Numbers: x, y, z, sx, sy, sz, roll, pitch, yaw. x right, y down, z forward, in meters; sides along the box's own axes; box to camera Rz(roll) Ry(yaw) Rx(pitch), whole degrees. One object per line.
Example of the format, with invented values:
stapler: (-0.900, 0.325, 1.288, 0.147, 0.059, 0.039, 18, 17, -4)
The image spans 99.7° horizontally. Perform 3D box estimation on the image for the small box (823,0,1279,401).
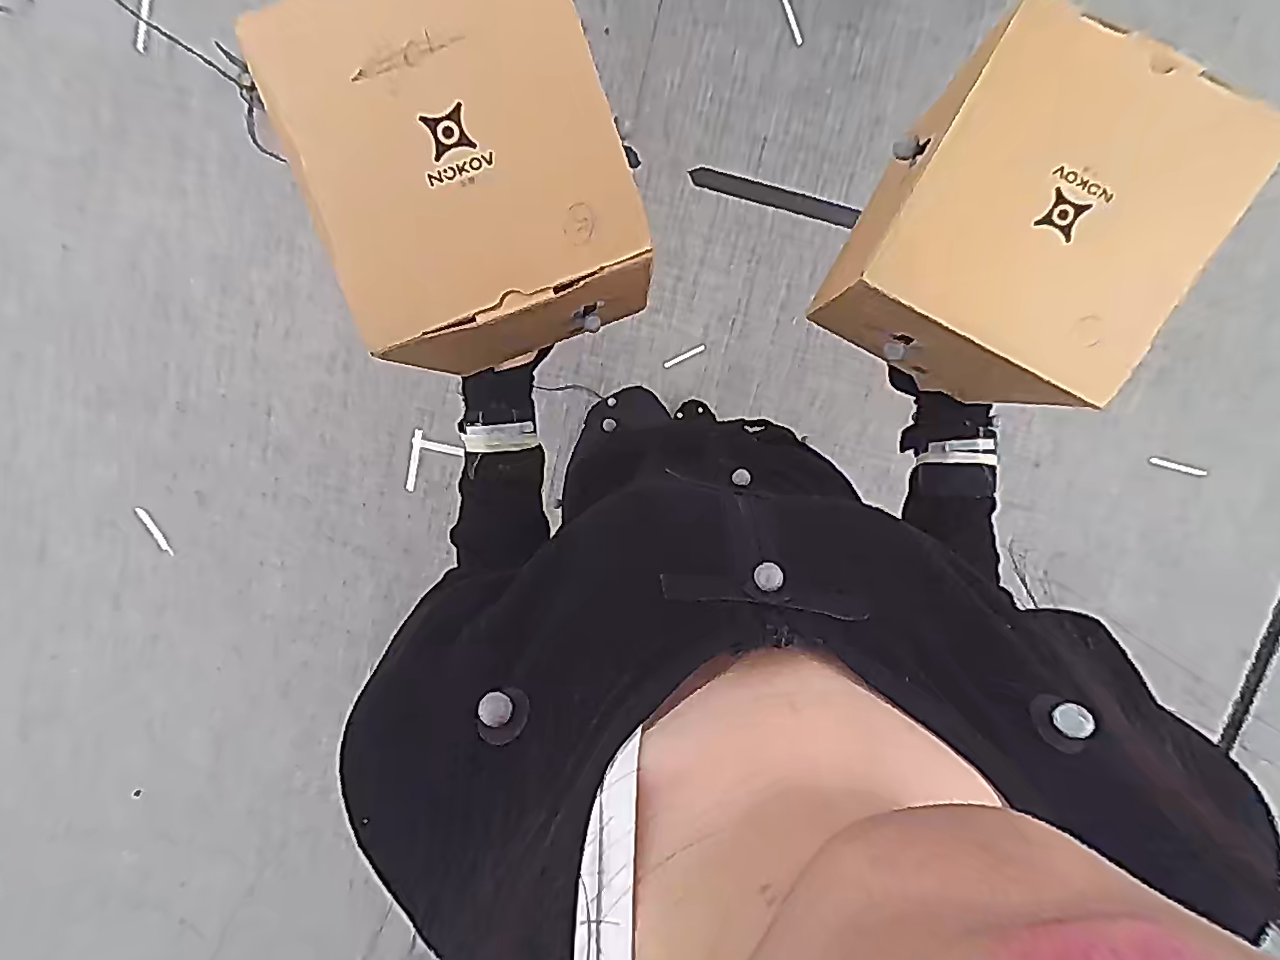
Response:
small box: (0.251, -0.169, 0.386, 0.168, 0.176, 0.179, 28, 99, 1)

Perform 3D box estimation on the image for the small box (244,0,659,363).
small box: (-0.095, -0.185, 0.357, 0.168, 0.176, 0.179, -21, 97, 0)
